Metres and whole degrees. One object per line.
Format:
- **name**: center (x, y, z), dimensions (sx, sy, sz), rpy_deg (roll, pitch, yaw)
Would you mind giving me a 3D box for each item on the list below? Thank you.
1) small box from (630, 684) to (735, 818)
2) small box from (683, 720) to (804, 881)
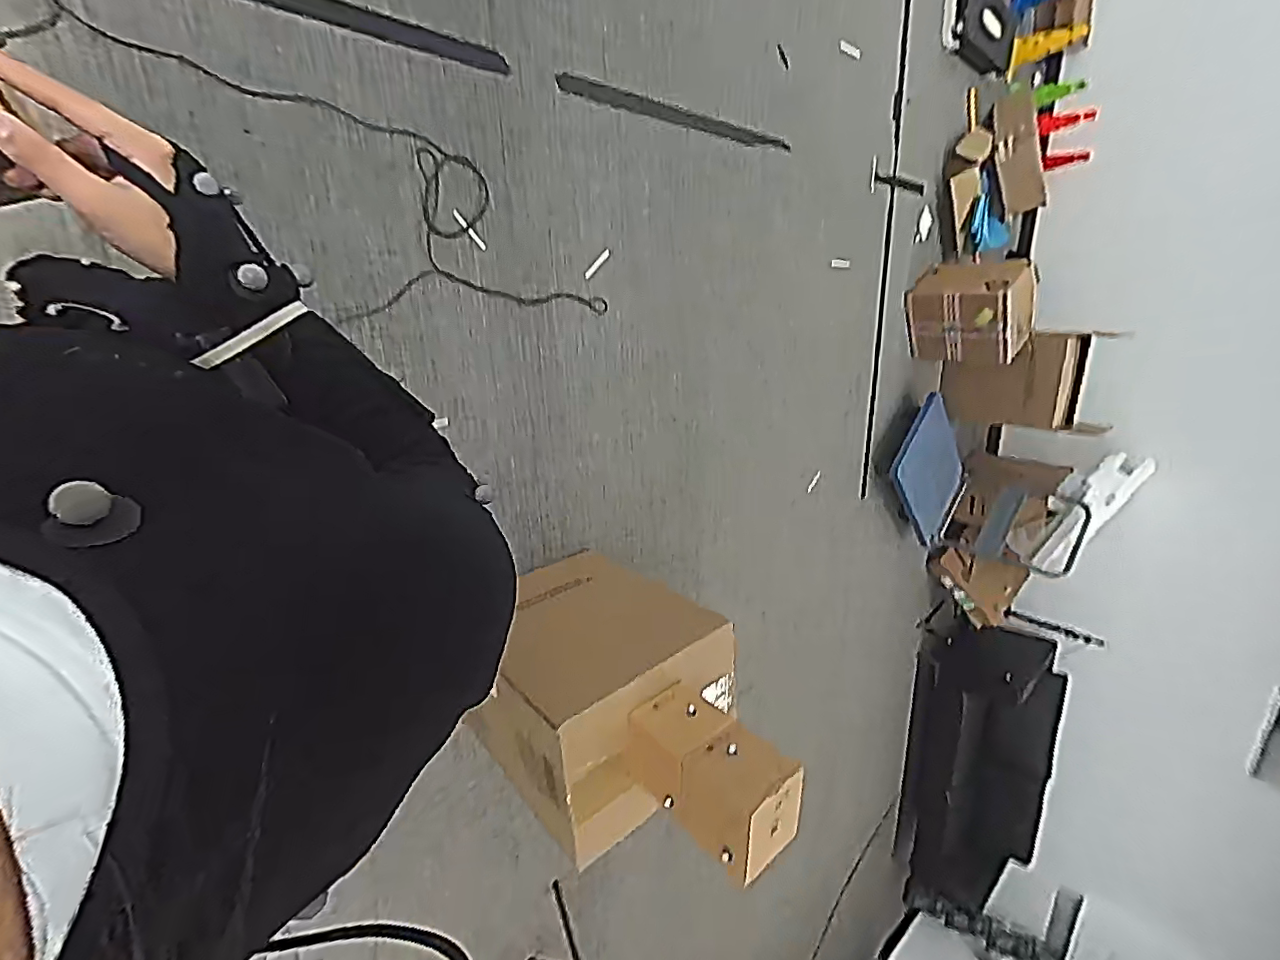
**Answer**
- **small box**: center (0.091, 0.576, 1.185), dimensions (0.168, 0.176, 0.179), rpy_deg (-16, 112, -39)
- **small box**: center (0.199, 0.617, 1.066), dimensions (0.168, 0.176, 0.179), rpy_deg (-13, 111, -41)
